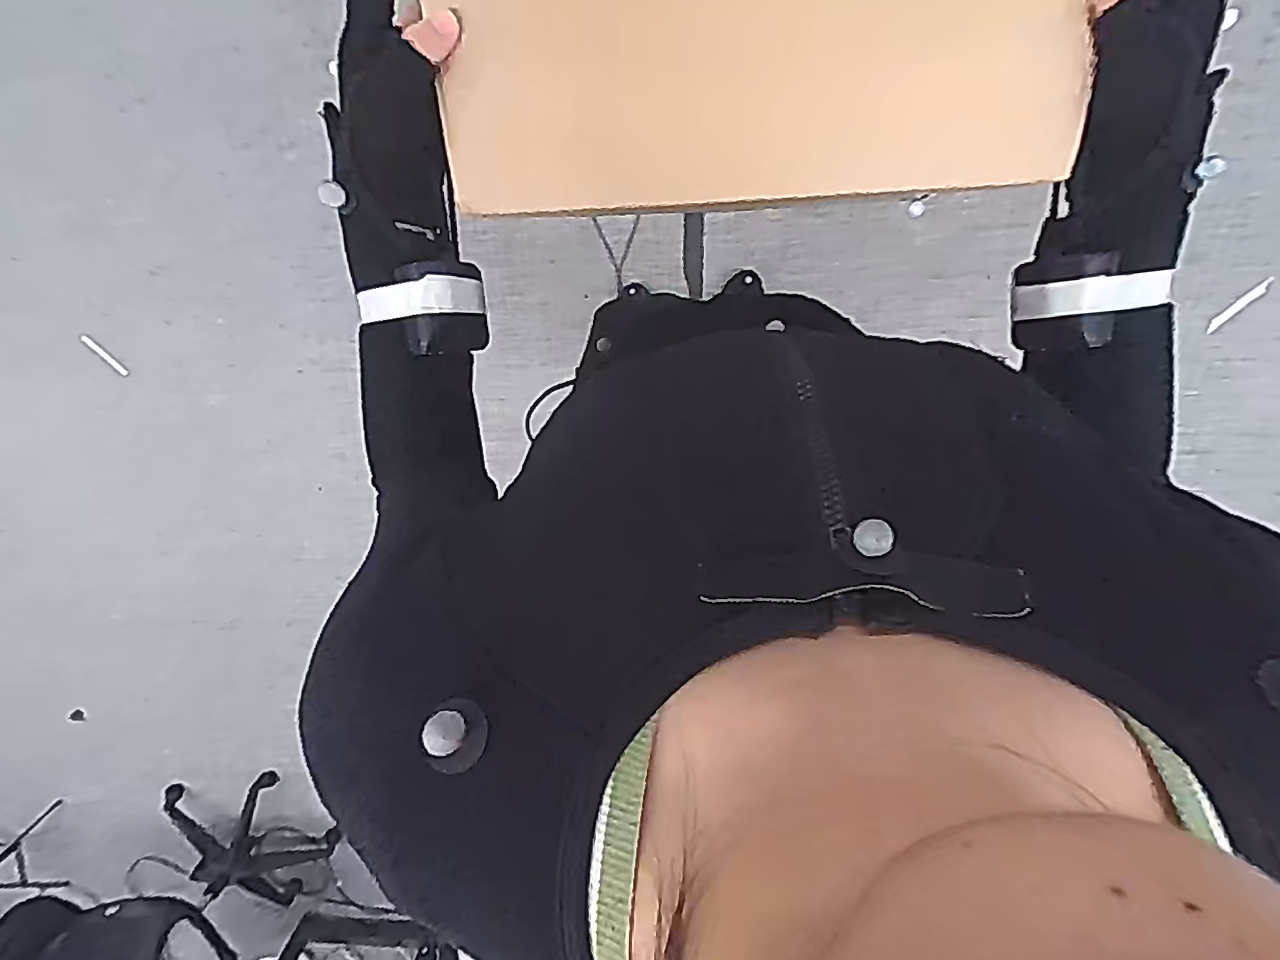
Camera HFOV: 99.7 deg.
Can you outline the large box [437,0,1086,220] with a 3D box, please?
[{"bbox_3d":[0.077,-0.400,0.445,0.408,0.320,0.320,-1,115,4],"label":"large box"}]
